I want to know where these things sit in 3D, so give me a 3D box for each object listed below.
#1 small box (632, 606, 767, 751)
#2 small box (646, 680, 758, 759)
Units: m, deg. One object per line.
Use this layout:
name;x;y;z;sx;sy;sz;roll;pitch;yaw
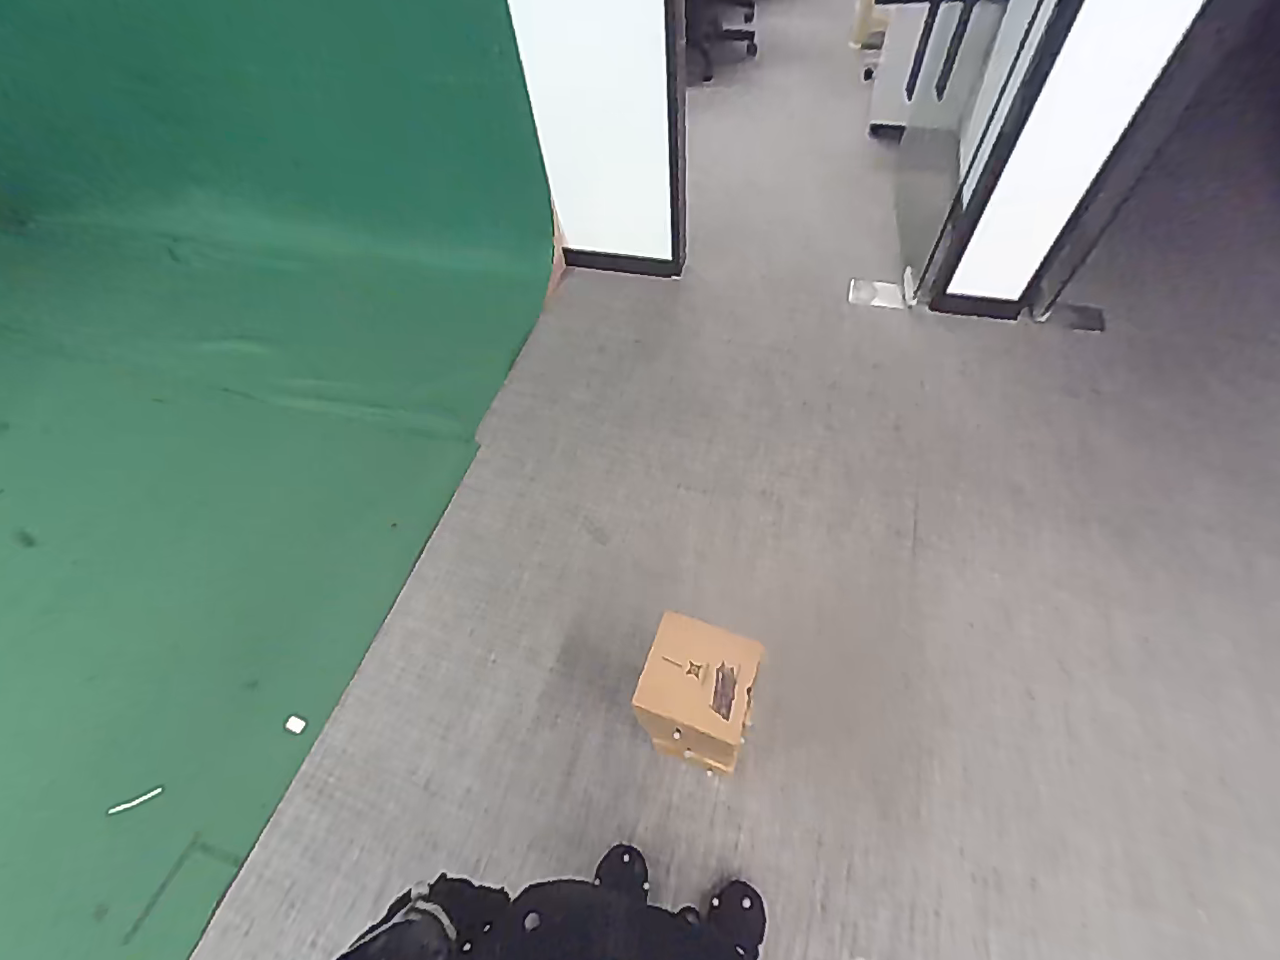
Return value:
small box;0.104;0.349;0.939;0.179;0.176;0.168;19;59;17
small box;0.126;0.440;1.078;0.179;0.176;0.168;16;60;15
